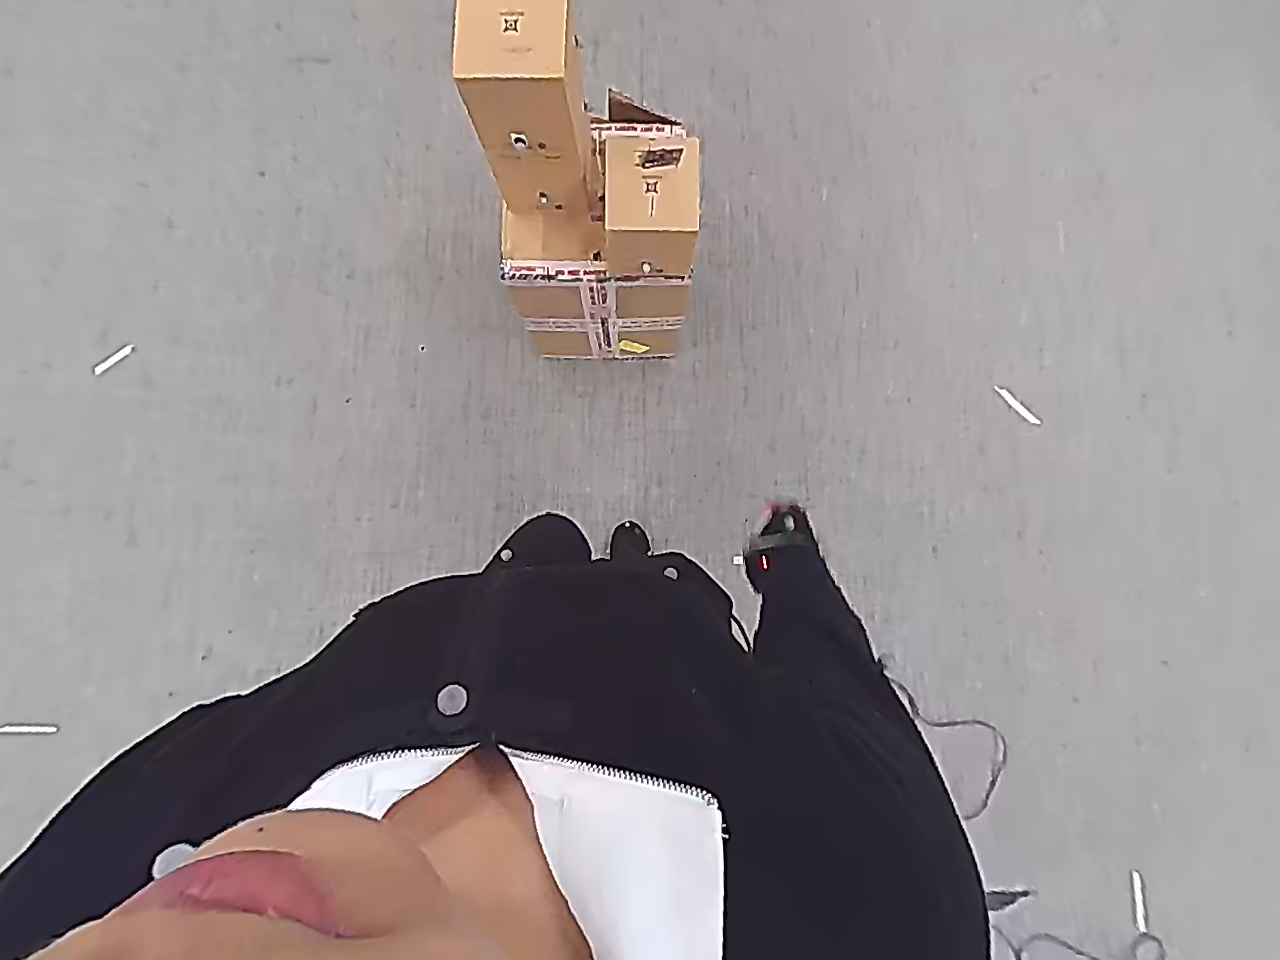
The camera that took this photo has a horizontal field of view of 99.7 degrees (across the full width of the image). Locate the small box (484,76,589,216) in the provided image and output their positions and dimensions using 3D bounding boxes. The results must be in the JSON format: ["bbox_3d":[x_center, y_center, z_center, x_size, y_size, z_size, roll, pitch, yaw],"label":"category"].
[{"bbox_3d":[-0.190,-0.637,1.035,0.168,0.176,0.179,1,84,1],"label":"small box"}]

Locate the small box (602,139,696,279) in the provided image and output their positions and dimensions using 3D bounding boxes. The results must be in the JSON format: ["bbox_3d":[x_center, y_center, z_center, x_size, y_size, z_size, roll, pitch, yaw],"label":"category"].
[{"bbox_3d":[0.013,-0.504,1.024,0.168,0.176,0.179,0,85,-2],"label":"small box"}]

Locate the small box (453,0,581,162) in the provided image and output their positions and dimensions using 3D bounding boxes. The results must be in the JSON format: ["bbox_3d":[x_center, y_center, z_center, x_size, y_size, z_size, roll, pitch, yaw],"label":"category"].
[{"bbox_3d":[-0.189,-0.654,0.873,0.168,0.176,0.179,1,85,1],"label":"small box"}]
